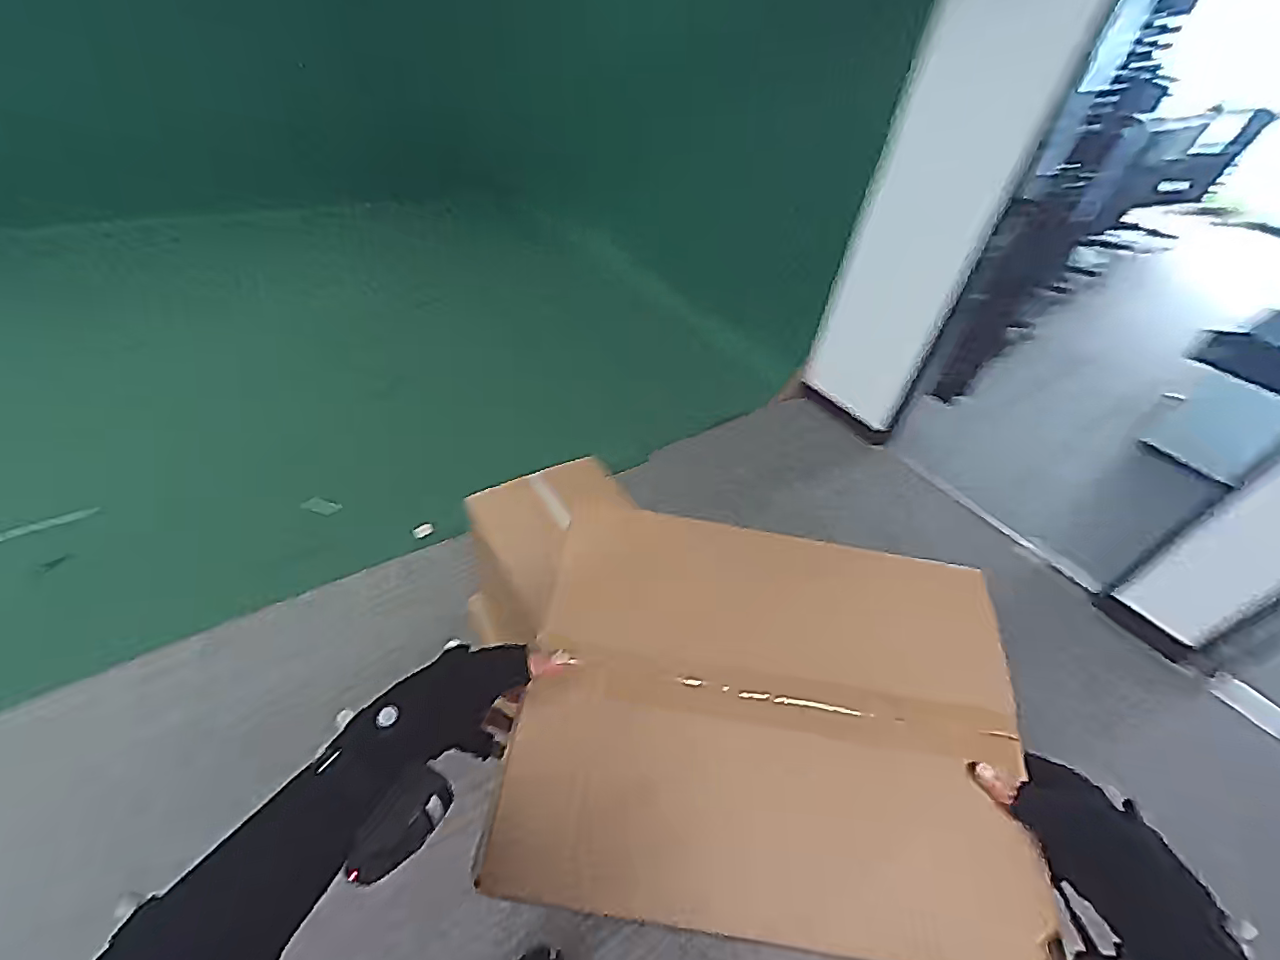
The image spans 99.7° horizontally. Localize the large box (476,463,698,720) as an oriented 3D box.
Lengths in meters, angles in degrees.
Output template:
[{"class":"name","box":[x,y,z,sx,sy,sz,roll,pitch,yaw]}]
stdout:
[{"class":"large box","box":[-0.141,0.229,1.199,0.320,0.320,0.408,-18,50,-29]}]
